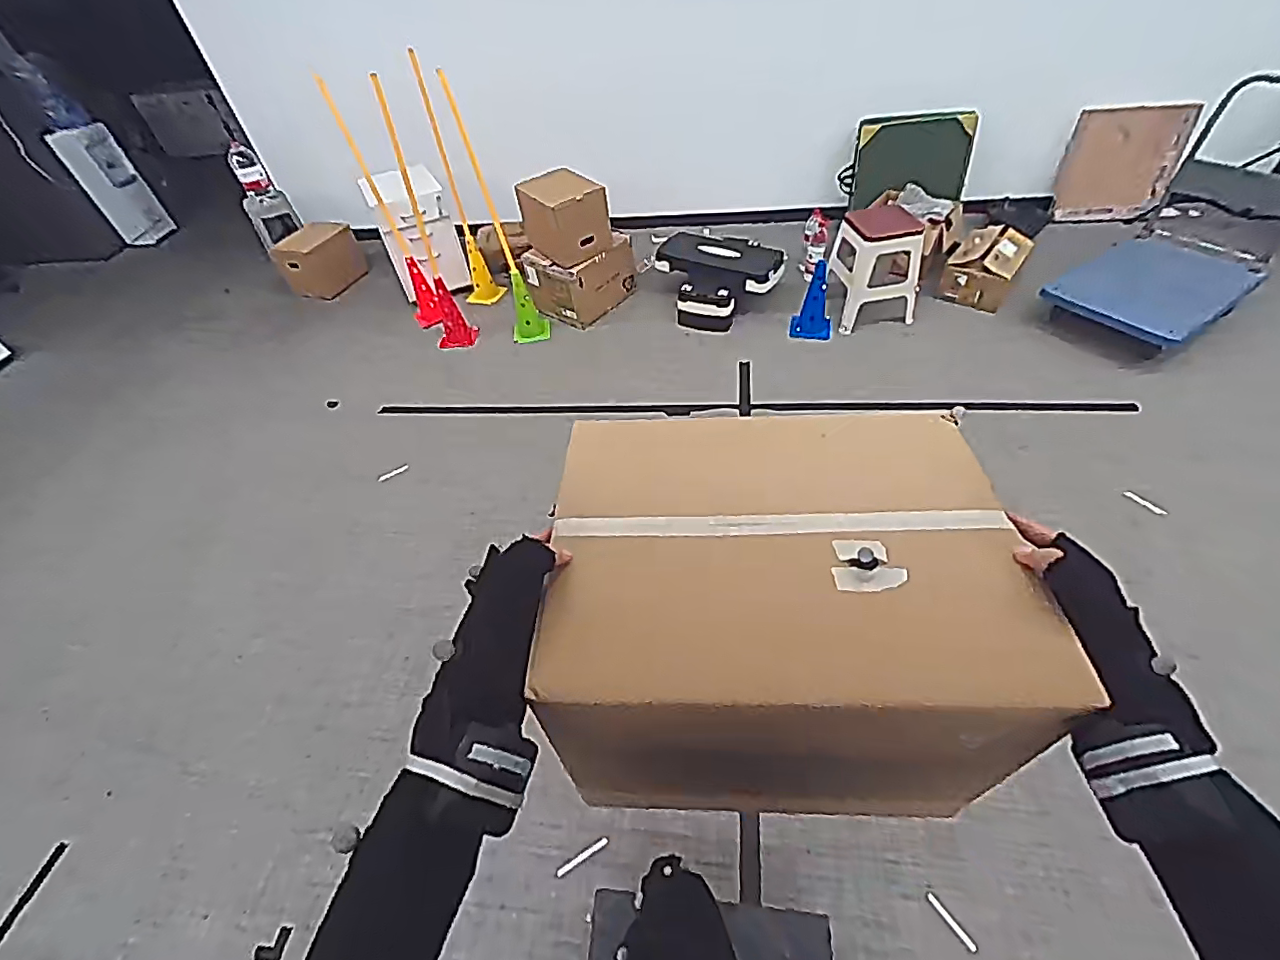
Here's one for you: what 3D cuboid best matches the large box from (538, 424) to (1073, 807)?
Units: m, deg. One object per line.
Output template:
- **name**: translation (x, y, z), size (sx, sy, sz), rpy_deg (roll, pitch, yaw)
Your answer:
- **large box**: translation (0.129, 0.155, 0.609), size (0.408, 0.320, 0.320), rpy_deg (-1, 46, 4)
